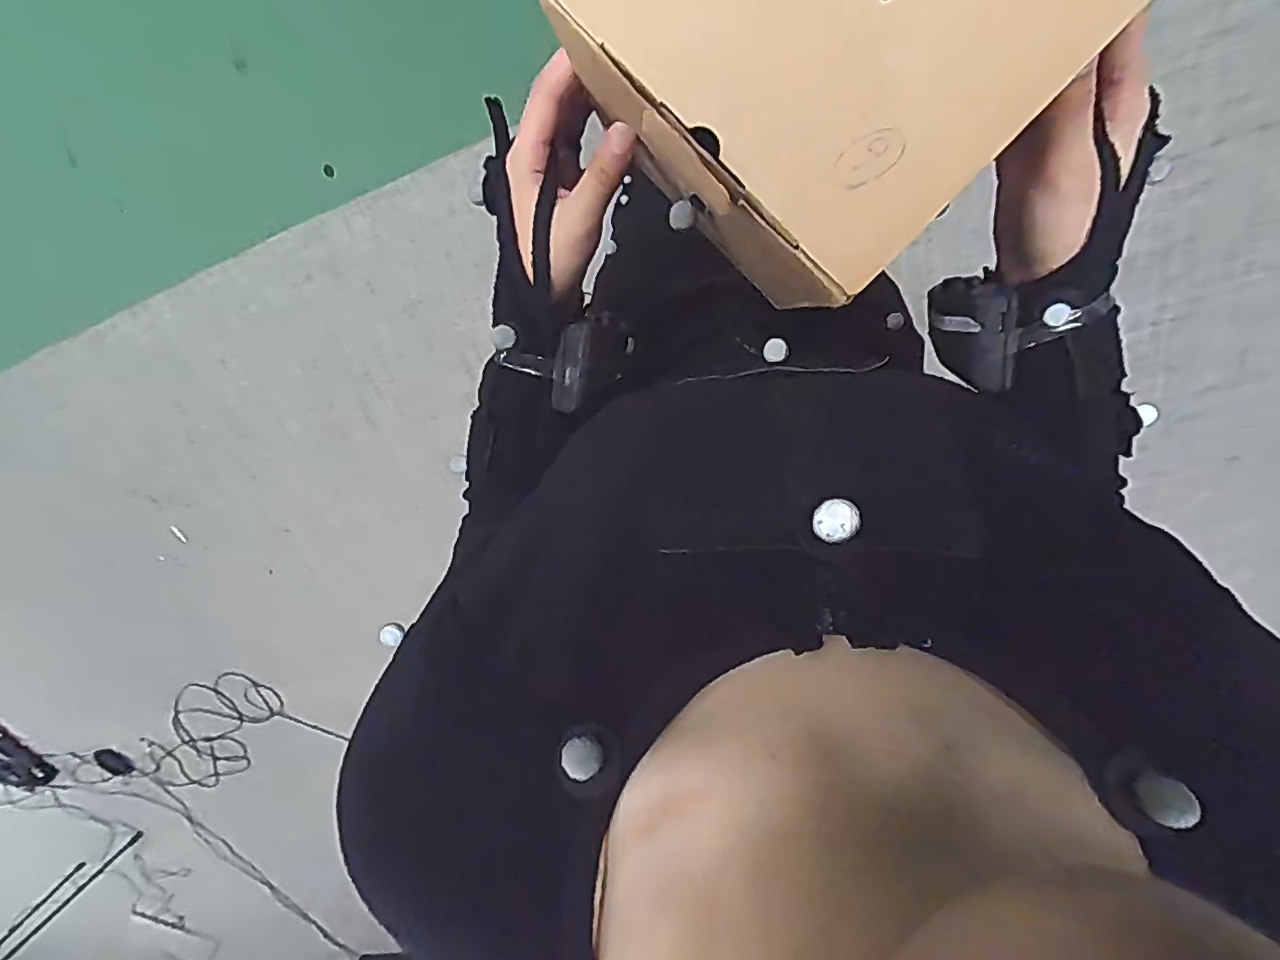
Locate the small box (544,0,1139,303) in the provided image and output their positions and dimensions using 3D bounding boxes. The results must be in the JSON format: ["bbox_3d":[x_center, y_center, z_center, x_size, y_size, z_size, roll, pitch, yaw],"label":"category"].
[{"bbox_3d":[0.087,-0.207,0.267,0.168,0.176,0.179,42,107,-7],"label":"small box"}]
